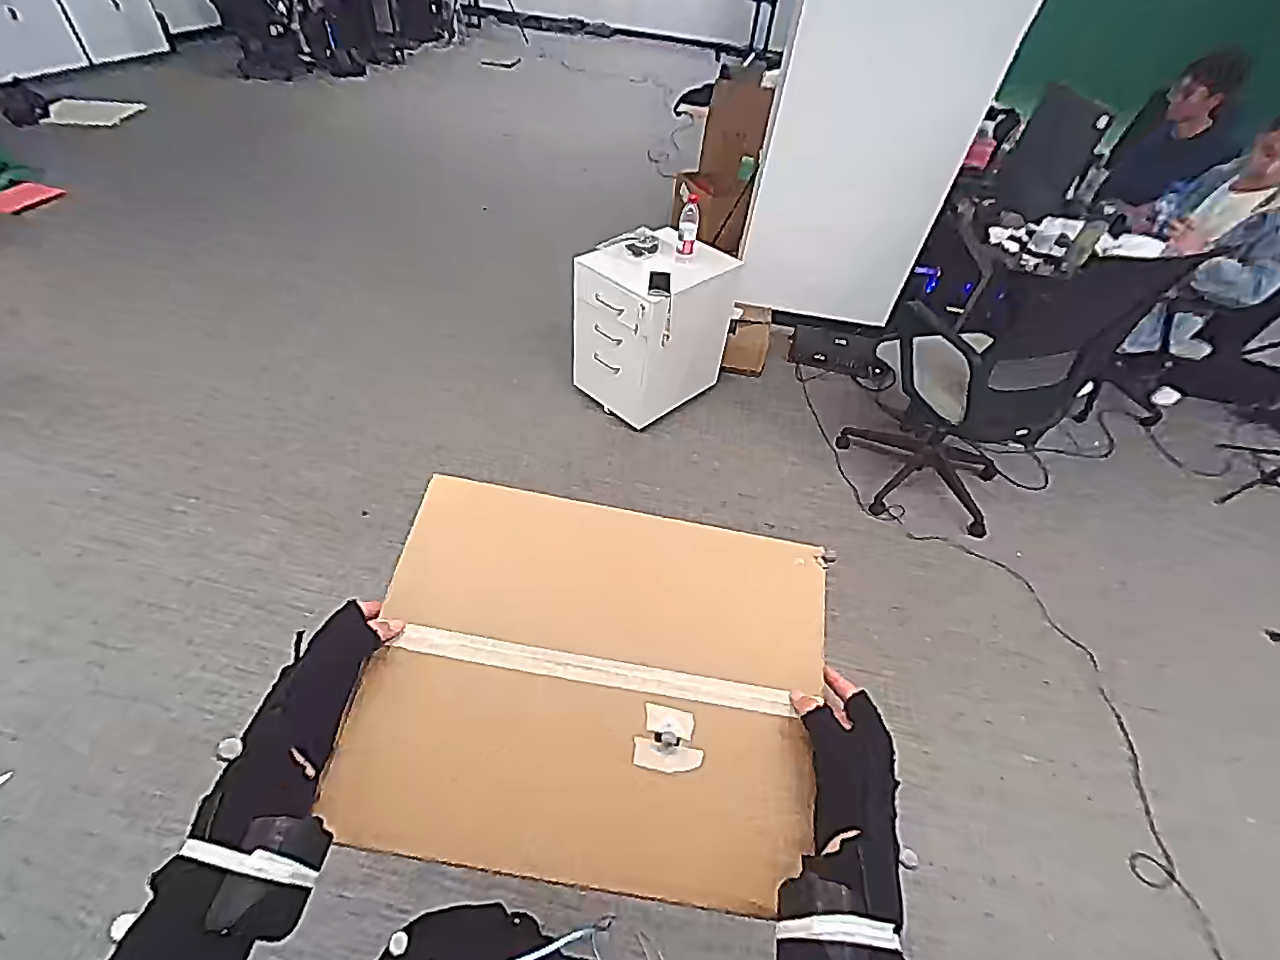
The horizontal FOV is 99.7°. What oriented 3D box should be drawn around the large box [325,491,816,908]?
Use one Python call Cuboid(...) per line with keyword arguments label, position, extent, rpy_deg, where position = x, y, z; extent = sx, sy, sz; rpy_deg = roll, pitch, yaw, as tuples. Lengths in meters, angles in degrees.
Cuboid(label="large box", position=(-0.051, 0.242, 0.627), extent=(0.408, 0.320, 0.320), rpy_deg=(11, 65, -2))
